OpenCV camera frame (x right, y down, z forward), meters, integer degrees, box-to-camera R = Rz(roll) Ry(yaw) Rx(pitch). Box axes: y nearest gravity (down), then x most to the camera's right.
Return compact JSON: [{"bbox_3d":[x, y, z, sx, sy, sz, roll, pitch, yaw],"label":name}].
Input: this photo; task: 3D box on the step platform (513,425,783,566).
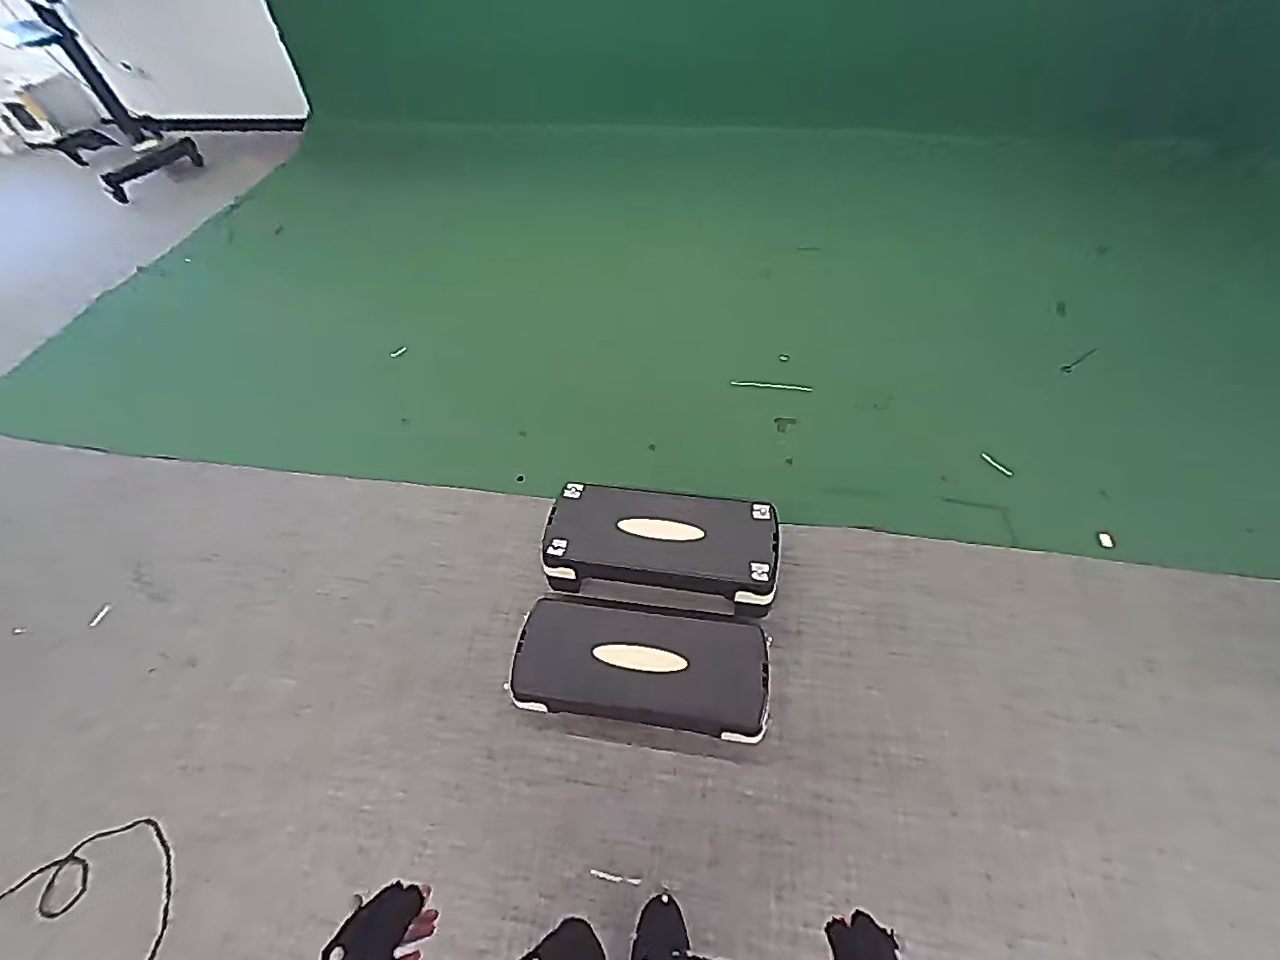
[{"bbox_3d":[0.025,0.041,1.457,0.684,0.204,0.286,5,53,8],"label":"step platform"}]
